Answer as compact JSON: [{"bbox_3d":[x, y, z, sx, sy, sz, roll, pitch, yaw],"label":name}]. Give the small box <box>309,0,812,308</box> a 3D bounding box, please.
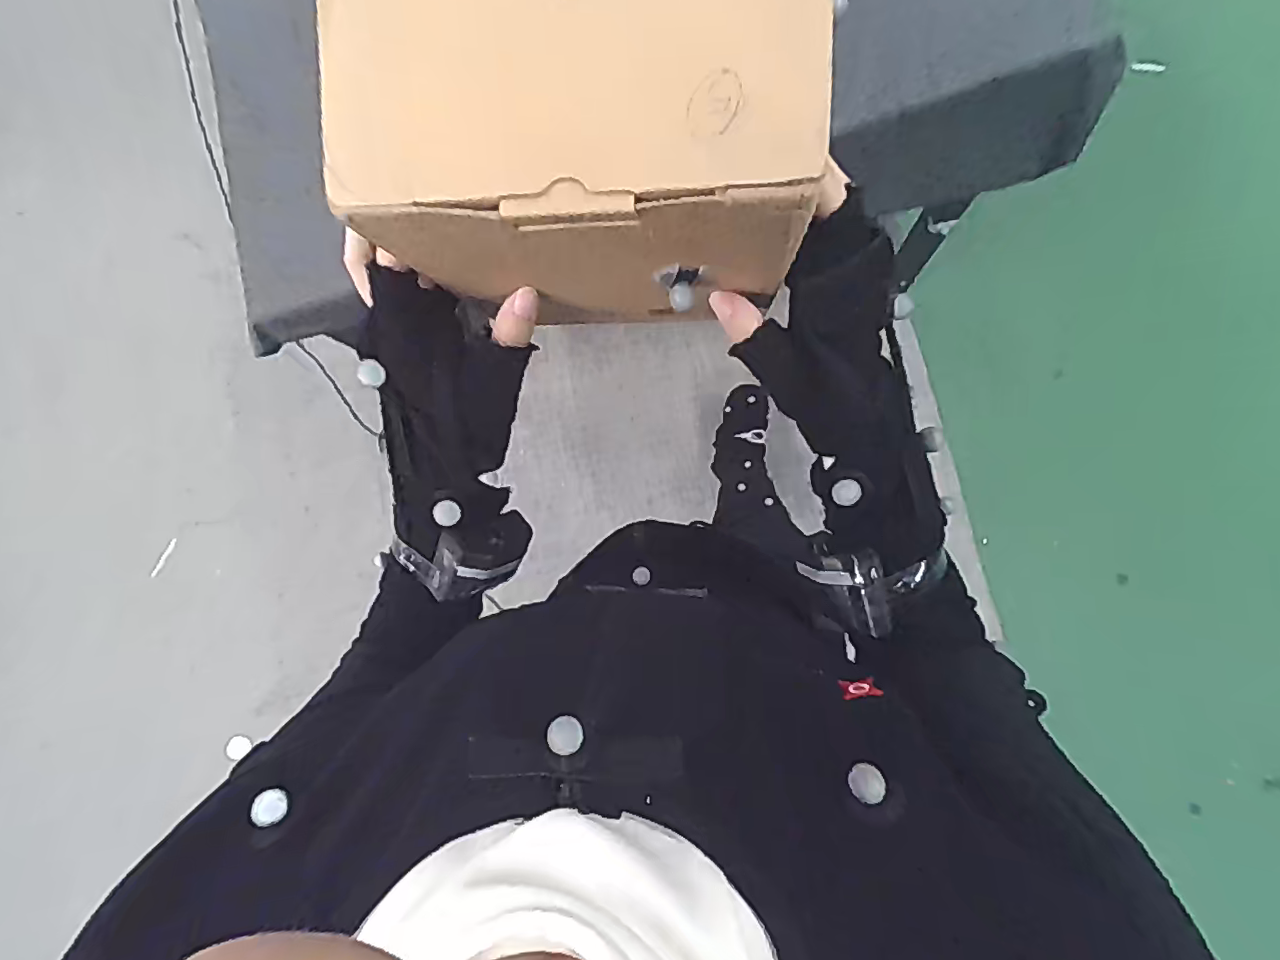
[{"bbox_3d":[-0.018,-0.185,0.250,0.168,0.176,0.179,1,92,6],"label":"small box"}]
